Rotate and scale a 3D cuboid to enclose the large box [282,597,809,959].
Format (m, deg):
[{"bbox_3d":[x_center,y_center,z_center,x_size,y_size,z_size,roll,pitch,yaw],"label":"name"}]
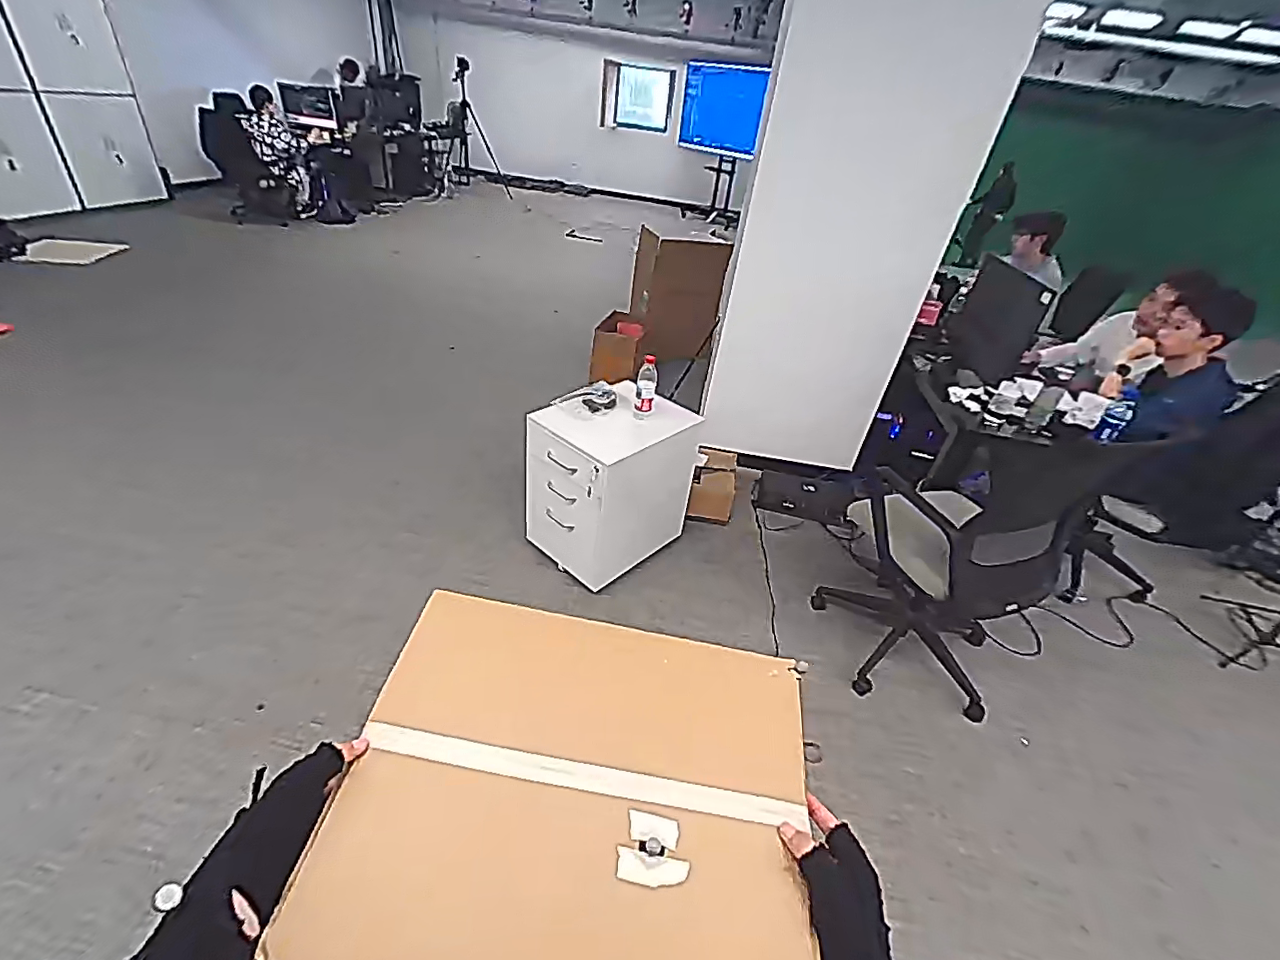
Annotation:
[{"bbox_3d":[-0.070,0.374,0.600,0.408,0.320,0.320,12,45,0],"label":"large box"}]
